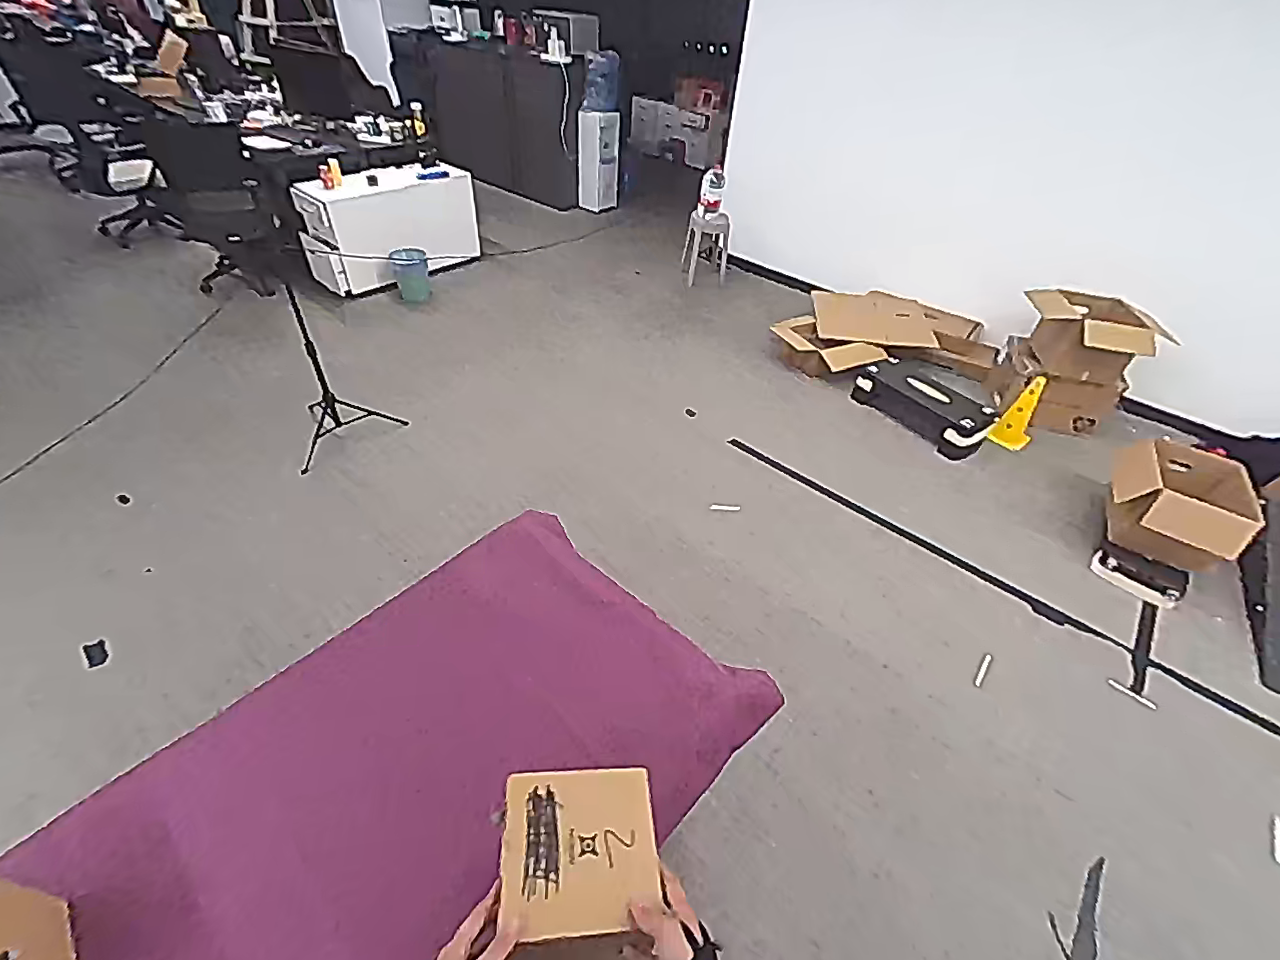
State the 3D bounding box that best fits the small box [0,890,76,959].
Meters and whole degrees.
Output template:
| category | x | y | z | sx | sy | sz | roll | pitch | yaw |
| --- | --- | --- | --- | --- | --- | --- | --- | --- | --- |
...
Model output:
| category | x | y | z | sx | sy | sz | roll | pitch | yaw |
| --- | --- | --- | --- | --- | --- | --- | --- | --- | --- |
| small box | -0.735 | 0.563 | 0.558 | 0.168 | 0.176 | 0.179 | -30 | 54 | -33 |
